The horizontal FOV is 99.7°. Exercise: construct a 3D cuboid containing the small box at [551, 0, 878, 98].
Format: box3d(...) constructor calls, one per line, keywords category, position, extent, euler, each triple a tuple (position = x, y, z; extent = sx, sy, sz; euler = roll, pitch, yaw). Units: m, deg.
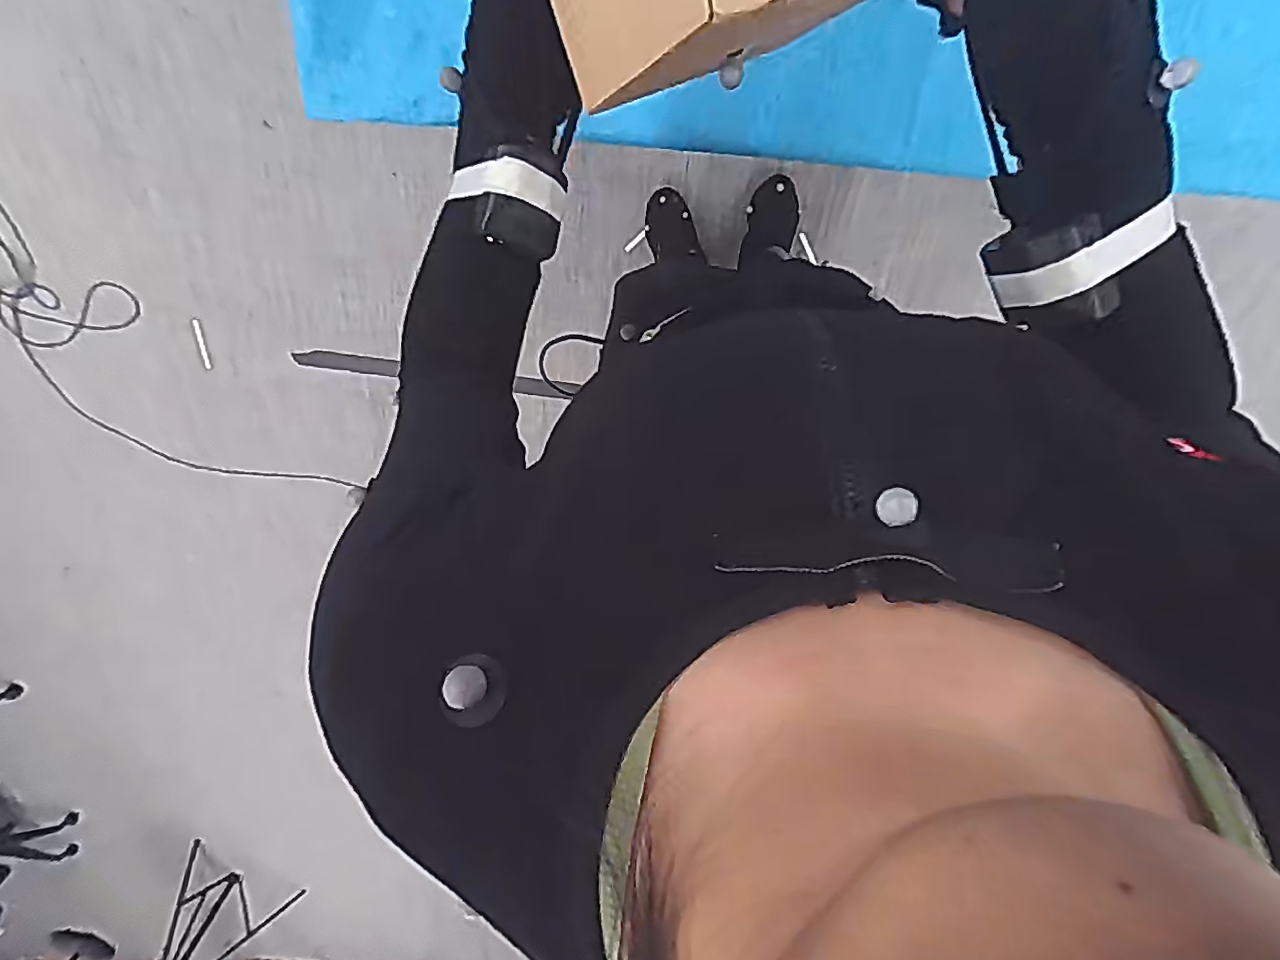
box3d(category="small box", position=(0.037, -0.330, 0.275), extent=(0.168, 0.176, 0.179), euler=(-24, 122, -12))
